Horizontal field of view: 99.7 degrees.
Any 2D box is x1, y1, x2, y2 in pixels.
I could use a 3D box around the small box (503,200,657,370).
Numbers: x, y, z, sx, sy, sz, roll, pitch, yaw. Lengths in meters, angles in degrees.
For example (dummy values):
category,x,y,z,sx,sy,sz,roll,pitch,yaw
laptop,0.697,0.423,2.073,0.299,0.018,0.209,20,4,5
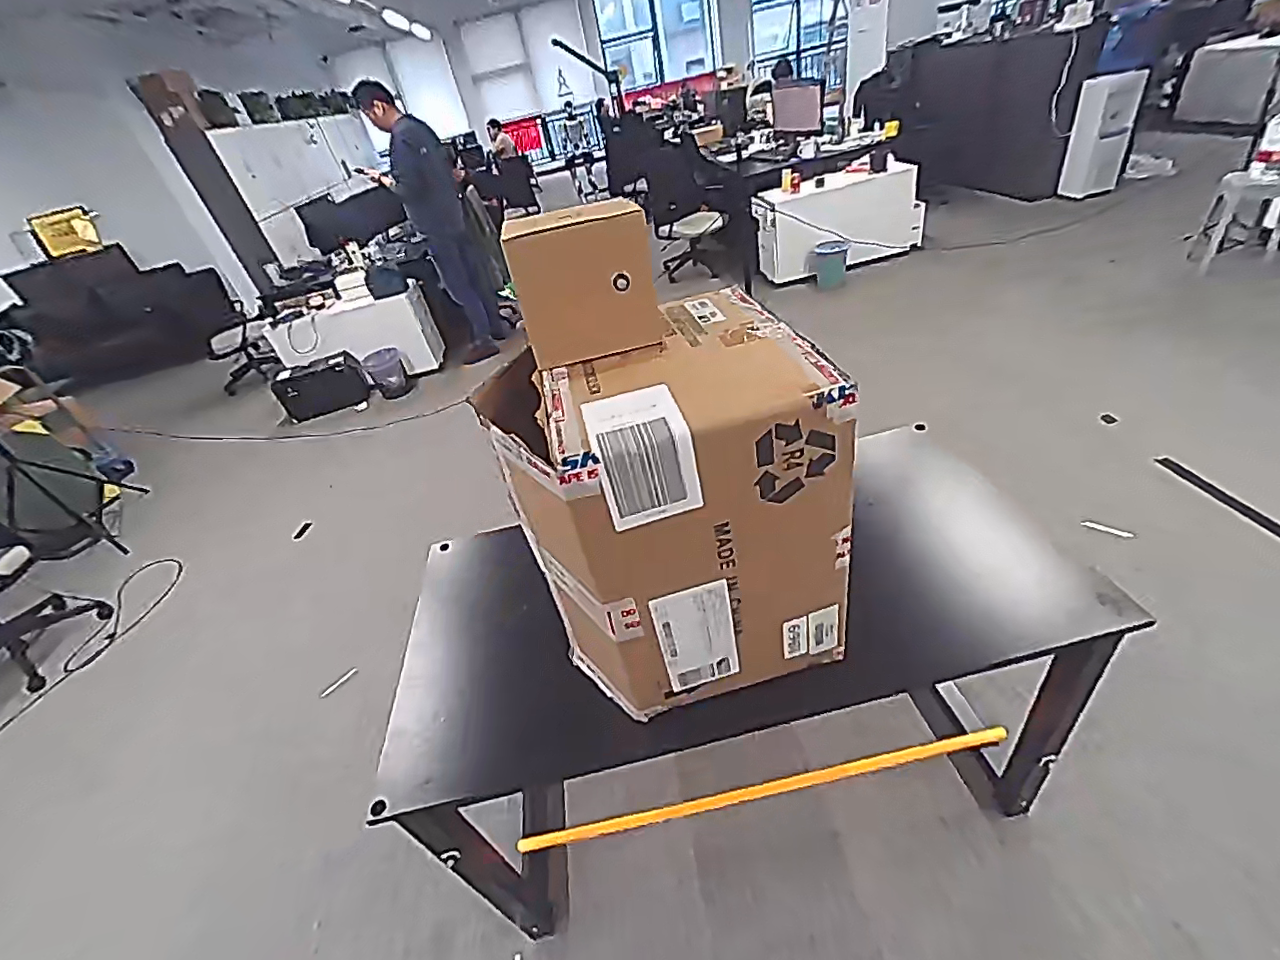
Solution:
category,x,y,z,sx,sy,sz,roll,pitch,yaw
small box,-0.079,-0.273,0.752,0.179,0.176,0.168,-15,33,-3
